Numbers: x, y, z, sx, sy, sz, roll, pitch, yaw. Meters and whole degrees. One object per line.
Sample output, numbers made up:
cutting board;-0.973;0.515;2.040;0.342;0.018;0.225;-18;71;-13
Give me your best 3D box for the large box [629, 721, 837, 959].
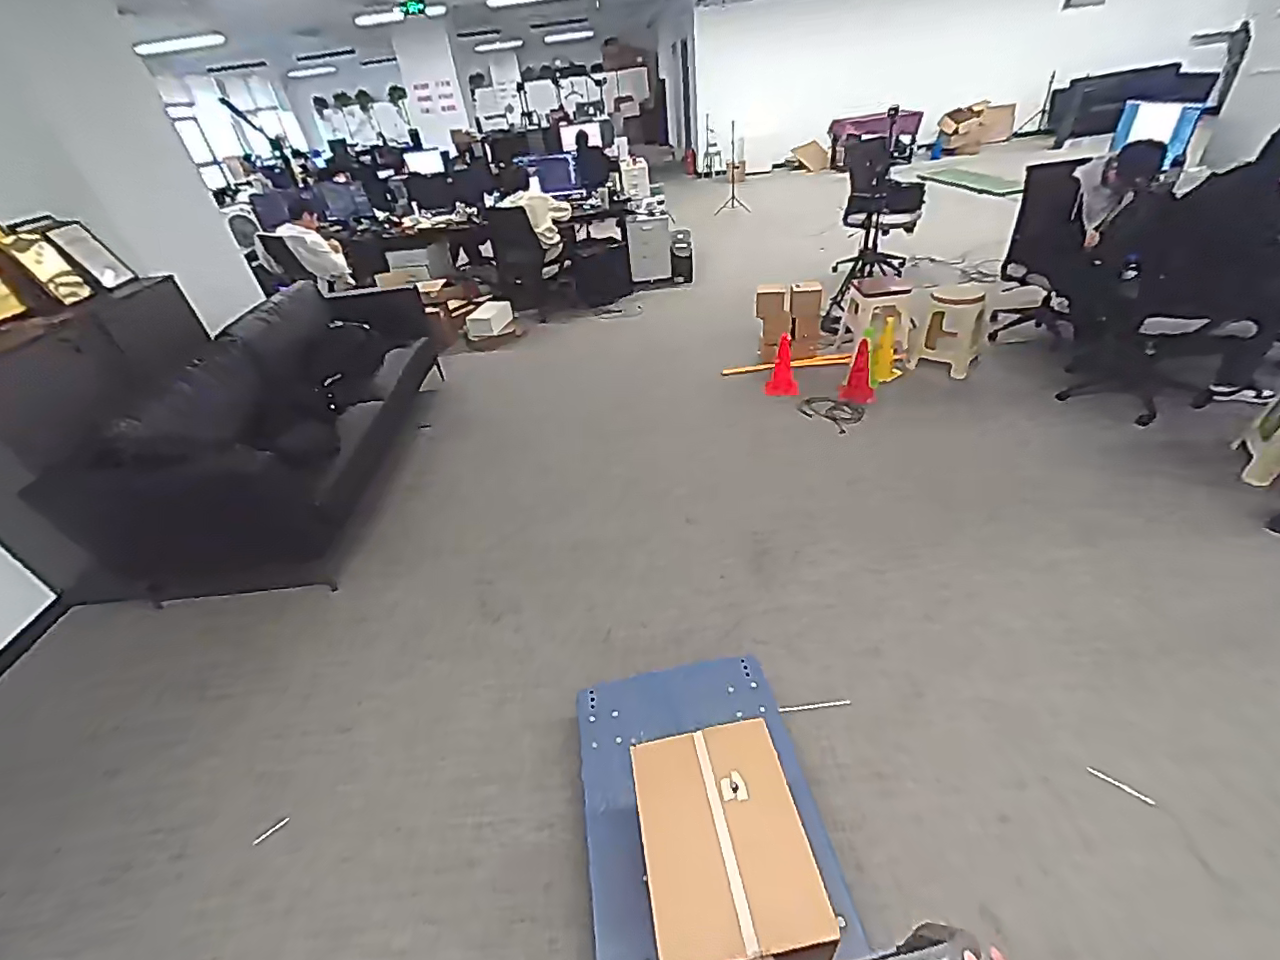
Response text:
large box;0.177;0.812;1.157;0.320;0.320;0.408;-10;36;-4
